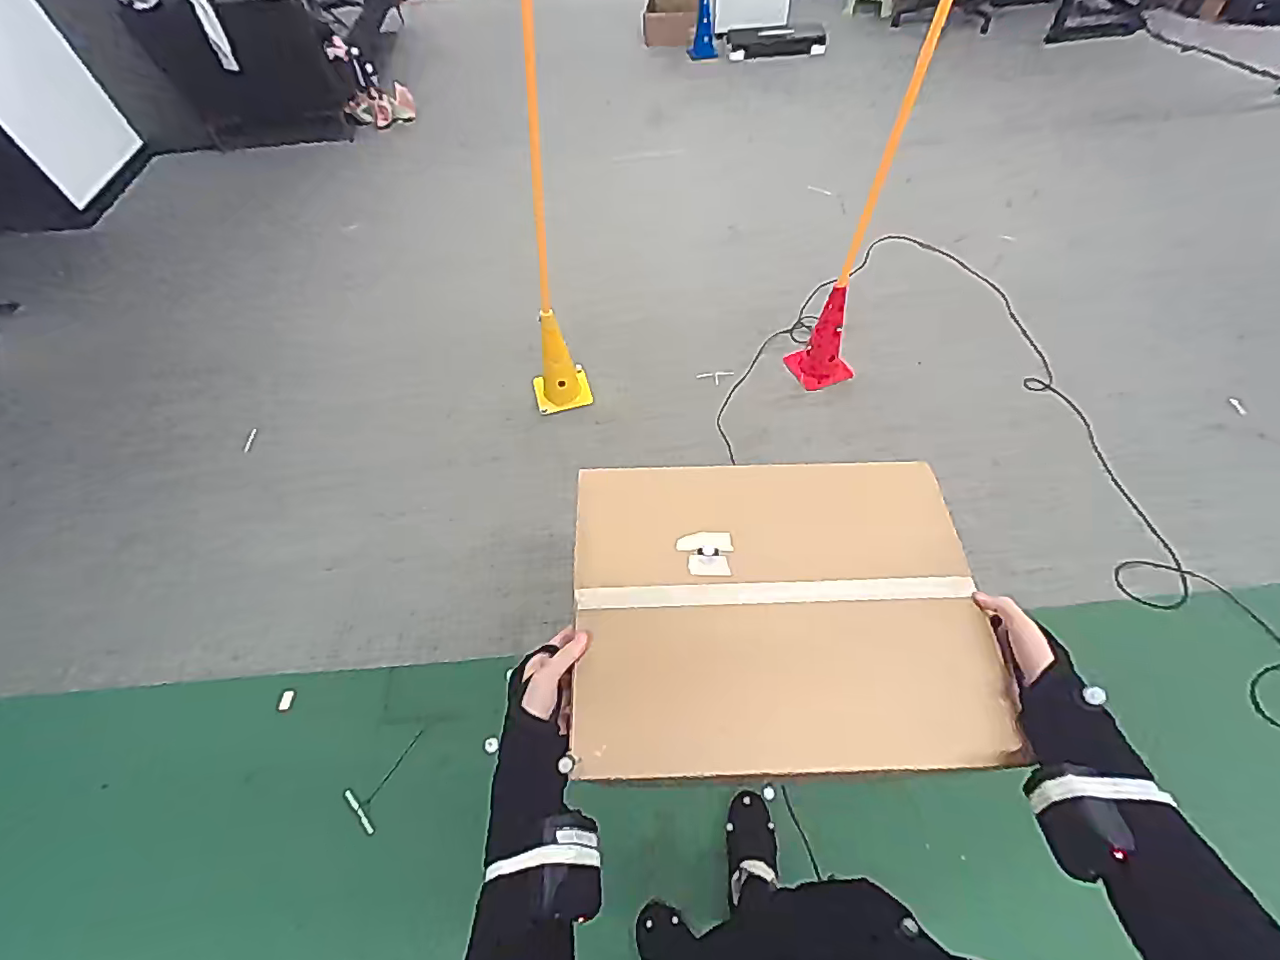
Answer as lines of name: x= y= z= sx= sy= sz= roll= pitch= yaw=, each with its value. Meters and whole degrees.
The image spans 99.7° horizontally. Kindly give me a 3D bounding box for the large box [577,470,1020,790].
large box: x=0.141 y=0.204 z=0.681 sx=0.408 sy=0.320 sz=0.320 roll=-2 pitch=58 yaw=0
